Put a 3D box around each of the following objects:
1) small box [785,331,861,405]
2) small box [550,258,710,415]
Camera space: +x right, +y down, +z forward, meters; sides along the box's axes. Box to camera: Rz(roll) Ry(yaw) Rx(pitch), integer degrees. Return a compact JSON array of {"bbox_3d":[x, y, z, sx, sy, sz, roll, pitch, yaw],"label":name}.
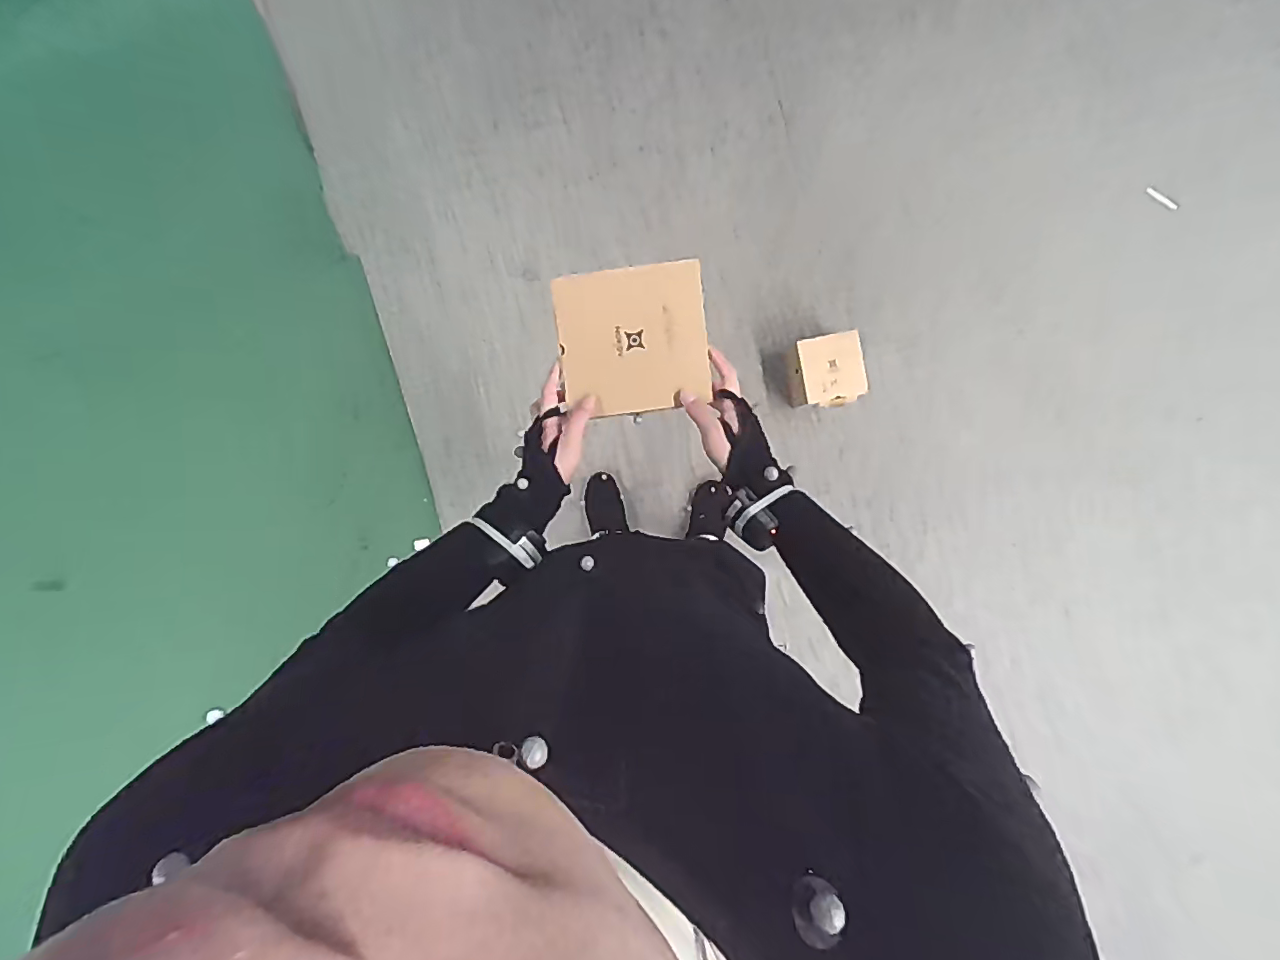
[{"bbox_3d":[0.508,-0.309,1.518,0.168,0.176,0.179,-4,94,4],"label":"small box"},{"bbox_3d":[-0.008,-0.173,0.701,0.179,0.176,0.168,-6,97,2],"label":"small box"}]
